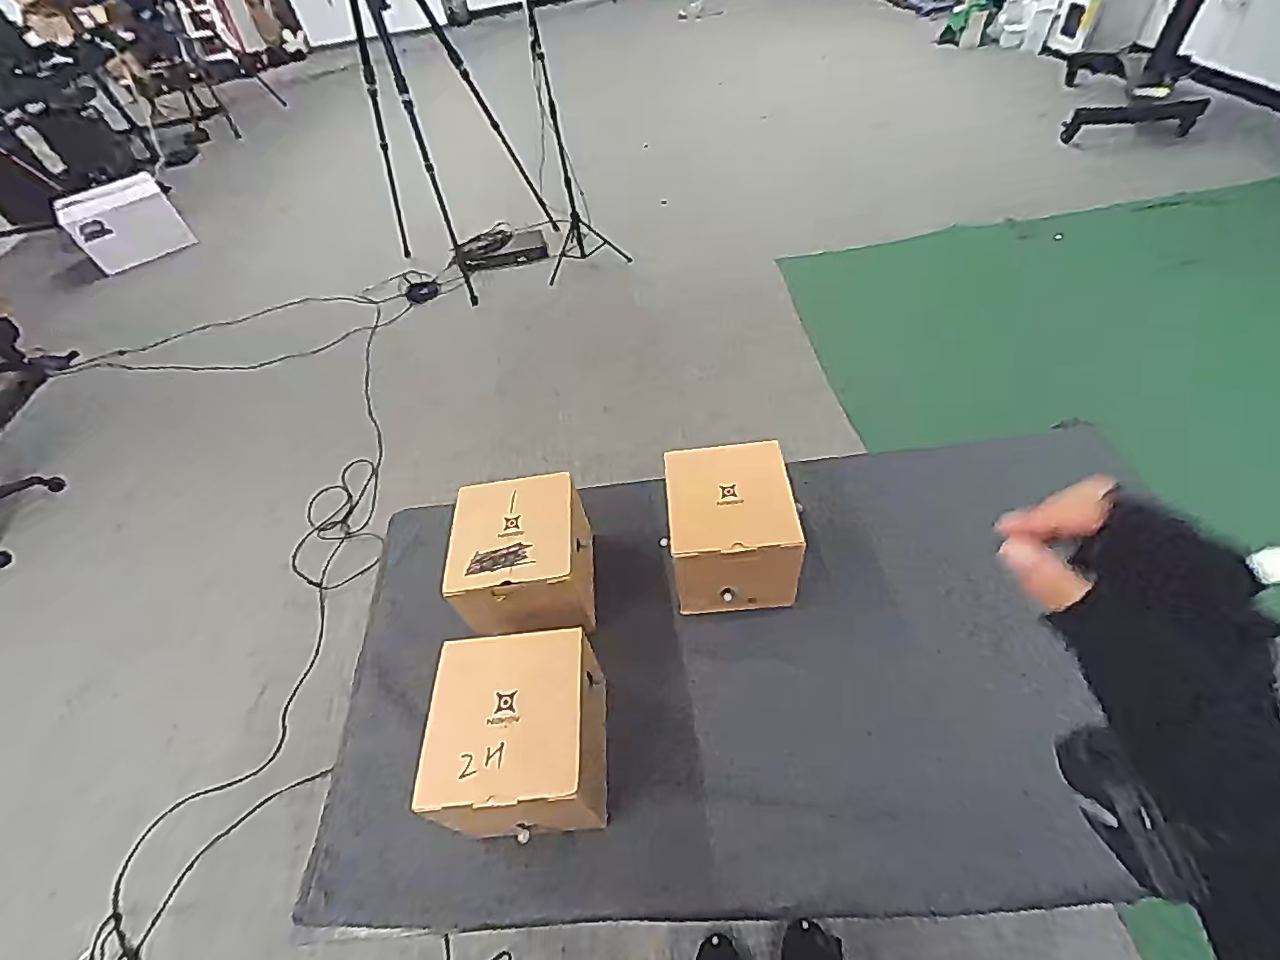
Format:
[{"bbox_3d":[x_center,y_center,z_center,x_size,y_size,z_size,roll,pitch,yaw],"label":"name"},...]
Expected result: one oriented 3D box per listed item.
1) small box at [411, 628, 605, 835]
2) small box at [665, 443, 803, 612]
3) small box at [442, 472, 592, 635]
[{"bbox_3d":[-0.136,0.295,0.631,0.168,0.176,0.179,-6,49,3],"label":"small box"},{"bbox_3d":[0.125,0.071,0.782,0.168,0.176,0.179,-6,52,3],"label":"small box"},{"bbox_3d":[-0.165,0.116,0.783,0.168,0.176,0.179,-8,50,2],"label":"small box"}]
